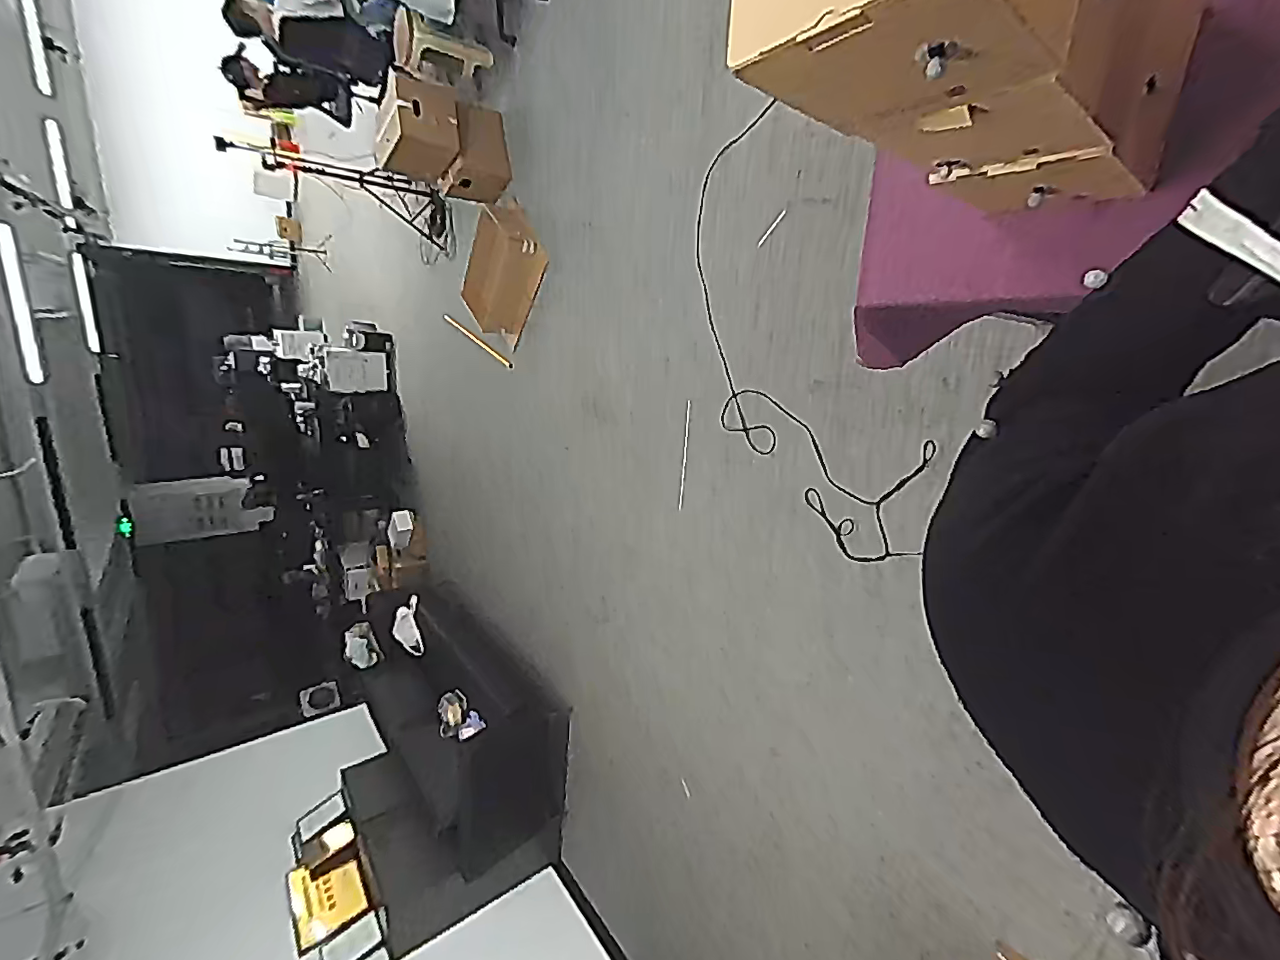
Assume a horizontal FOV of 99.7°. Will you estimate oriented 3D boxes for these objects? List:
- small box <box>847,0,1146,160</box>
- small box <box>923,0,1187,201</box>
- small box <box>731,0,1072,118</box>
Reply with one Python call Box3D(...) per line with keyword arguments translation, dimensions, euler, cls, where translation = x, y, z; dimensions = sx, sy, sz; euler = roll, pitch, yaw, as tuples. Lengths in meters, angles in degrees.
Box3D(translation=(0.311, -0.396, 0.467), dimensions=(0.168, 0.176, 0.179), euler=(23, 113, 47), cls="small box")
Box3D(translation=(0.436, -0.408, 0.574), dimensions=(0.168, 0.176, 0.179), euler=(22, 114, 47), cls="small box")
Box3D(translation=(0.185, -0.375, 0.366), dimensions=(0.168, 0.176, 0.179), euler=(20, 111, 47), cls="small box")
